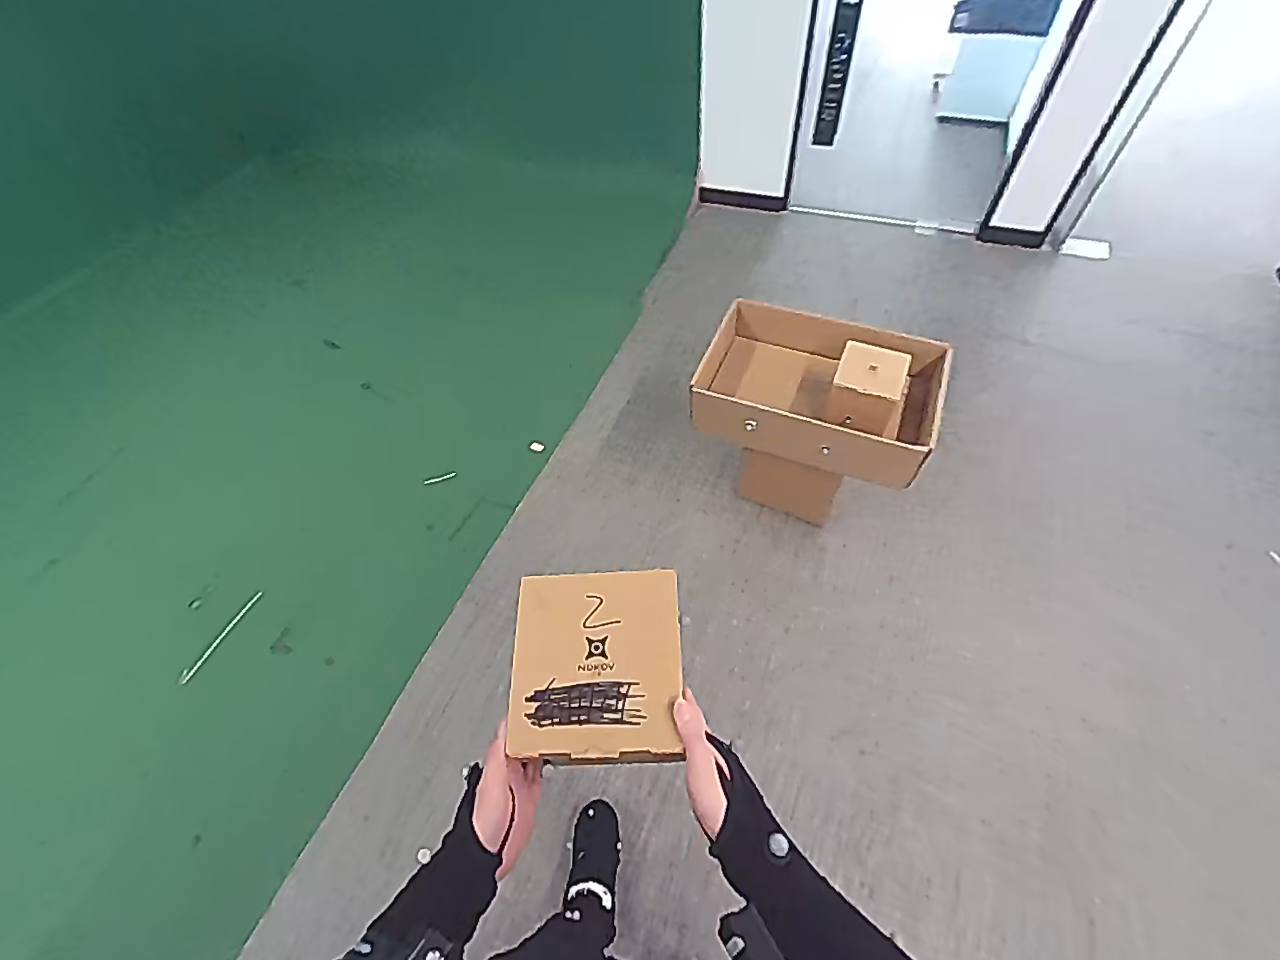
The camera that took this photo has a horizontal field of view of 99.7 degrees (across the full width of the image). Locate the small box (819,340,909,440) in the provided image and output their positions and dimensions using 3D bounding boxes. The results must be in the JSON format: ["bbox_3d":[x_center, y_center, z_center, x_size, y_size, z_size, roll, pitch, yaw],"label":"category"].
[{"bbox_3d":[0.596,-0.240,1.454,0.168,0.176,0.179,19,60,16],"label":"small box"}]
